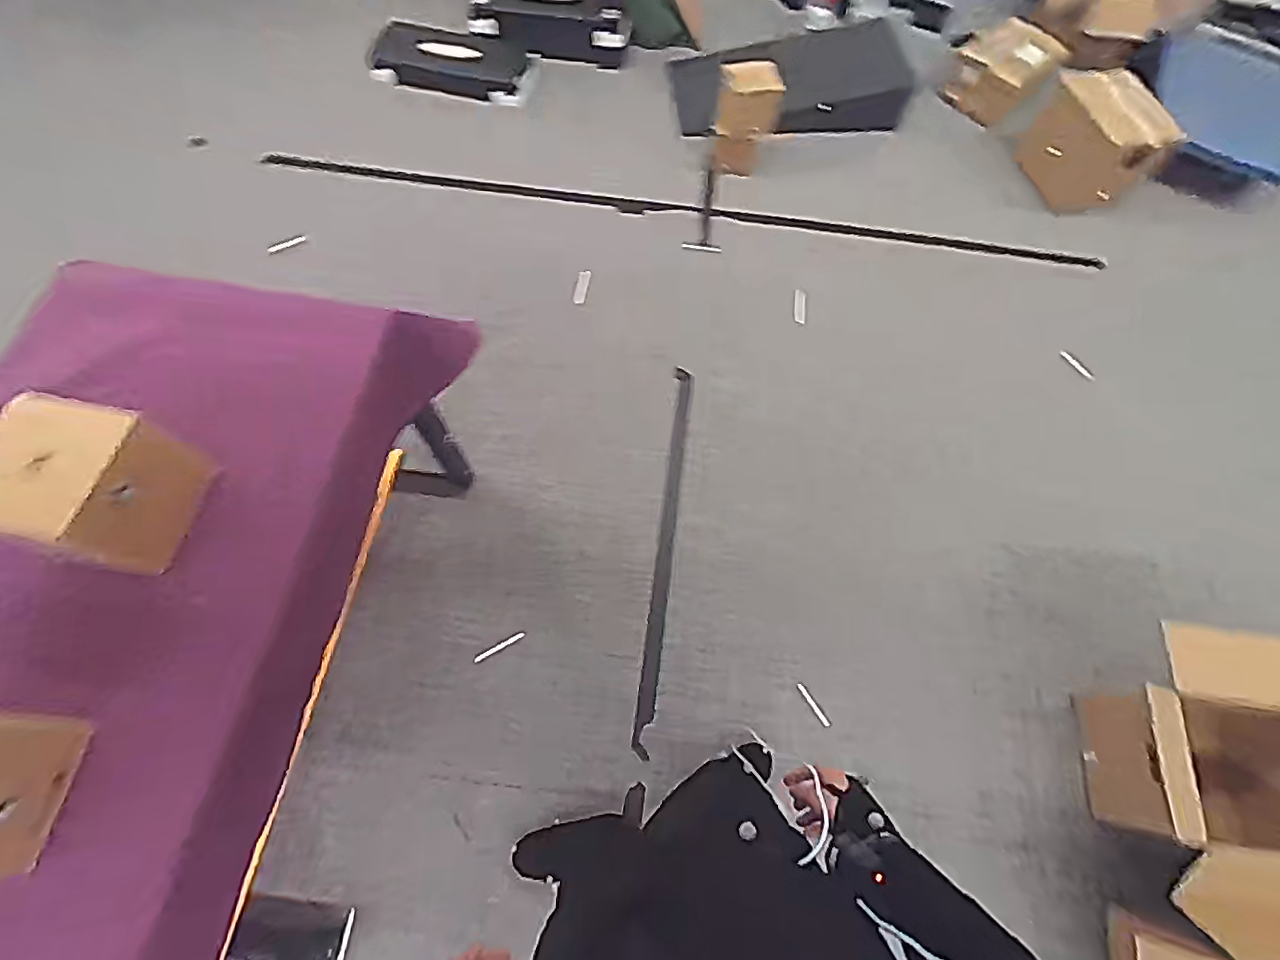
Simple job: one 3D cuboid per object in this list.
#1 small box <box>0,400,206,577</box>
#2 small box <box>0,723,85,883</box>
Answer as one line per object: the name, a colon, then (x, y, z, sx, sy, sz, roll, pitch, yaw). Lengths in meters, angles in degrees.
small box: (-0.756, 0.019, 0.743, 0.168, 0.176, 0.179, 10, 68, 1)
small box: (-0.796, 0.361, 0.595, 0.179, 0.176, 0.168, 6, 67, 0)
